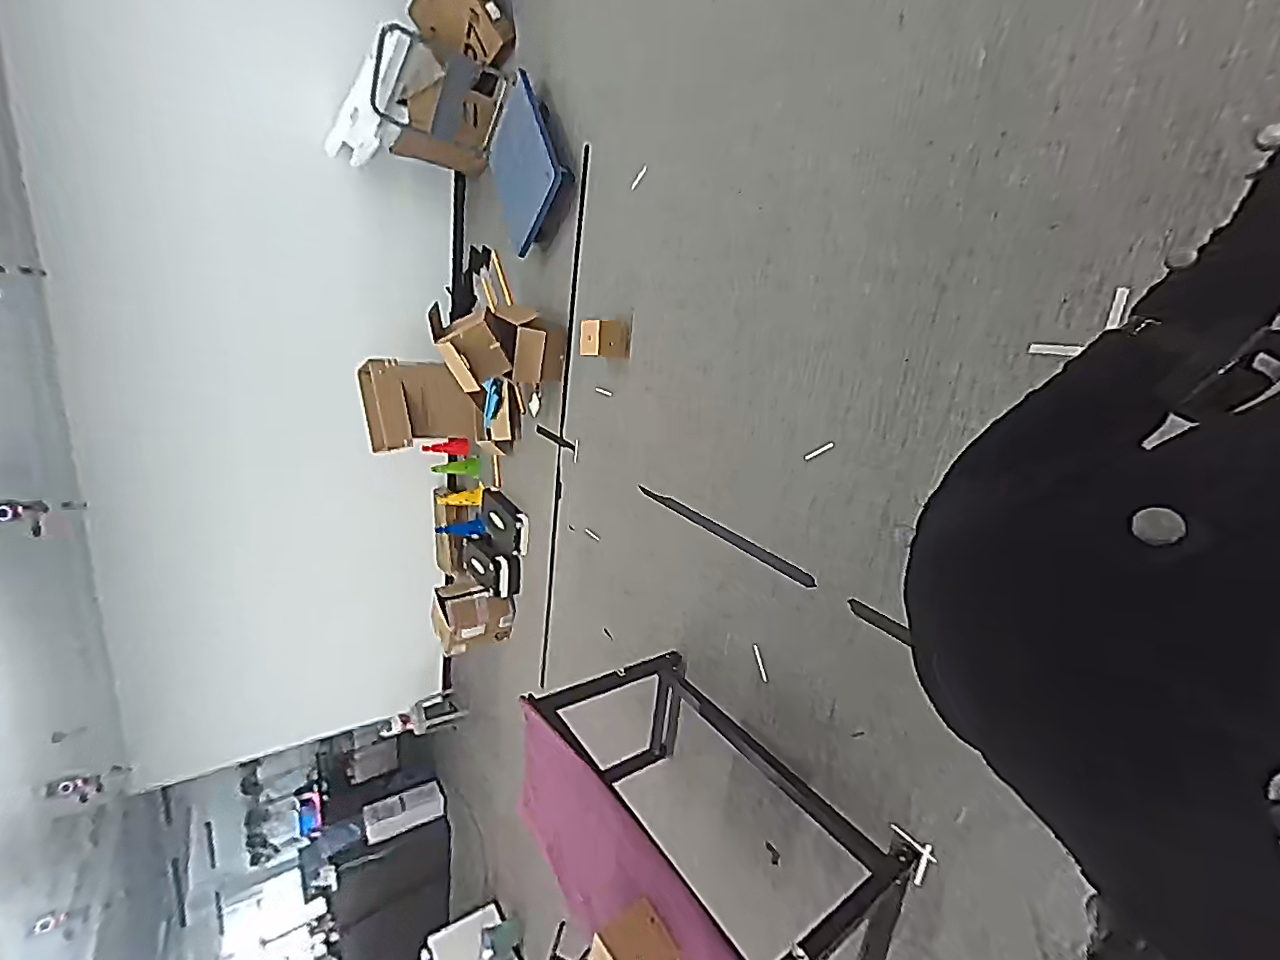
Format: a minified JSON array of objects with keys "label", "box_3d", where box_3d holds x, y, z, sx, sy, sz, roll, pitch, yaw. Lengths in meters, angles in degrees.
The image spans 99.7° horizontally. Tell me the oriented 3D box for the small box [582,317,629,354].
[{"label":"small box","box_3d":[-0.168,-0.711,2.665,0.179,0.176,0.168,18,109,52]}]
